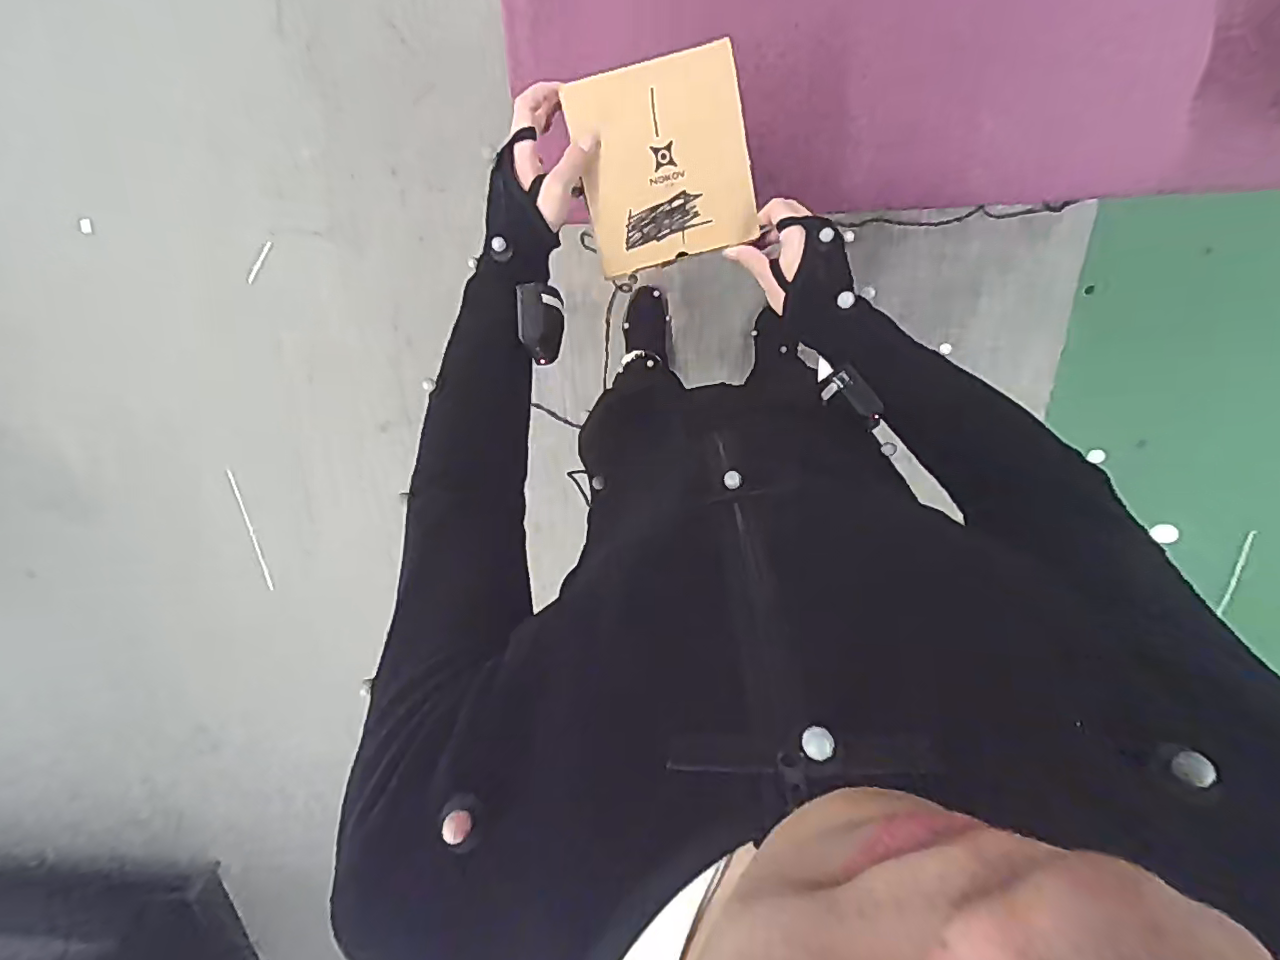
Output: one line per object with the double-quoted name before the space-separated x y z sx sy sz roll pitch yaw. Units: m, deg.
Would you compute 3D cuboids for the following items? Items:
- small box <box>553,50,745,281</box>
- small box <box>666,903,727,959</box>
"small box" 0.014 -0.336 0.613 0.168 0.176 0.179 -12 110 4
"small box" 0.177 1.512 1.741 0.168 0.176 0.179 11 112 2
